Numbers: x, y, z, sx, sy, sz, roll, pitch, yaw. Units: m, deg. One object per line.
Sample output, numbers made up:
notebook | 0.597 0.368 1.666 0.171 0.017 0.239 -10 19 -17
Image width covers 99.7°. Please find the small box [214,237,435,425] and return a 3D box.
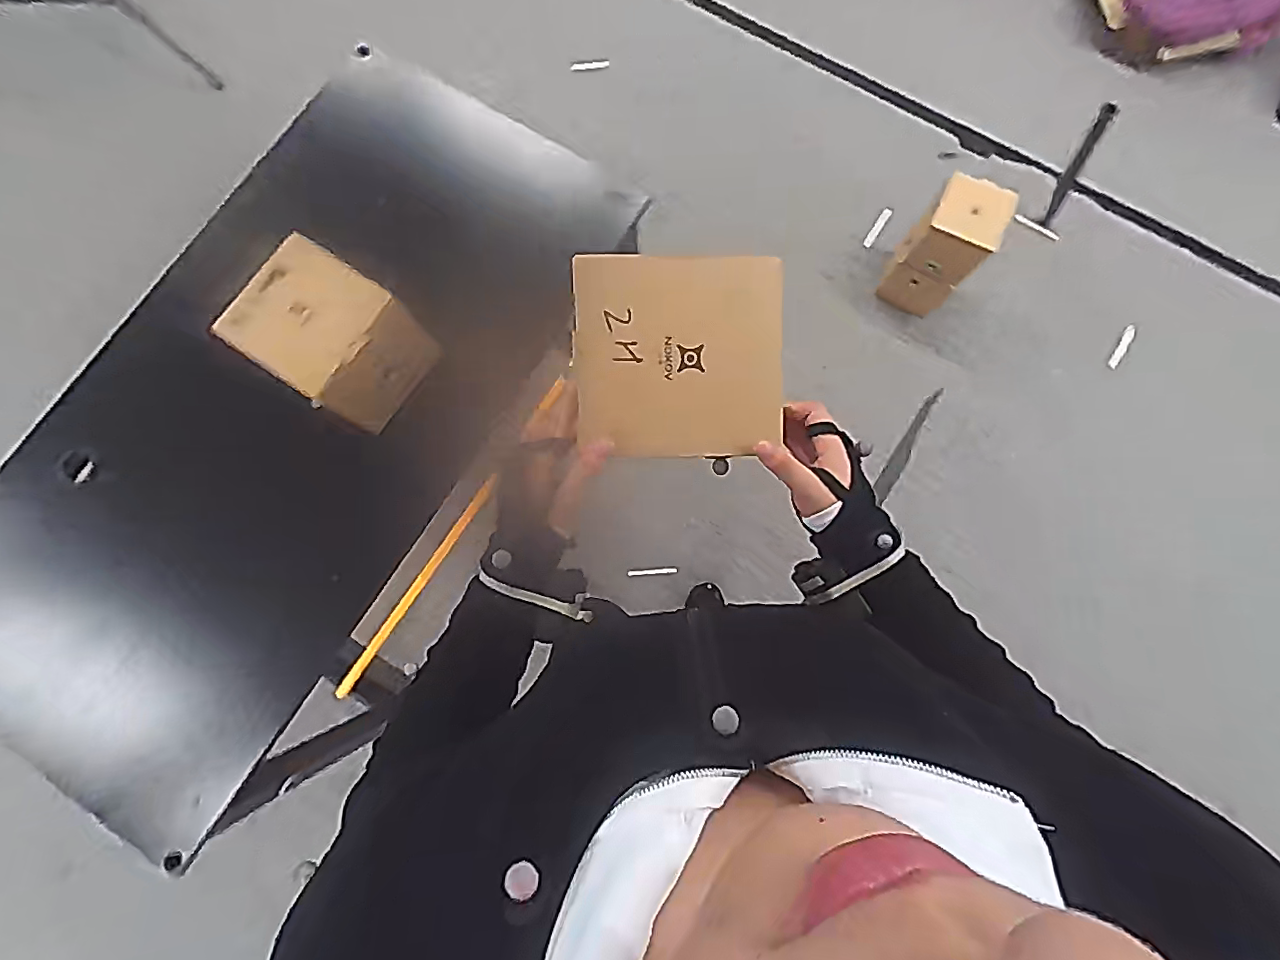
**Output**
small box | -0.430 -0.196 0.772 0.179 0.176 0.168 33 82 6

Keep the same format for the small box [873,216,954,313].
small box | 0.812 -0.616 1.569 0.179 0.176 0.168 29 82 5

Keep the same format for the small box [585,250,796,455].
small box | 0.036 -0.109 0.525 0.179 0.176 0.168 -1 93 -4

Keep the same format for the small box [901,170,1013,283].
small box | 0.816 -0.654 1.411 0.168 0.176 0.179 25 83 6
